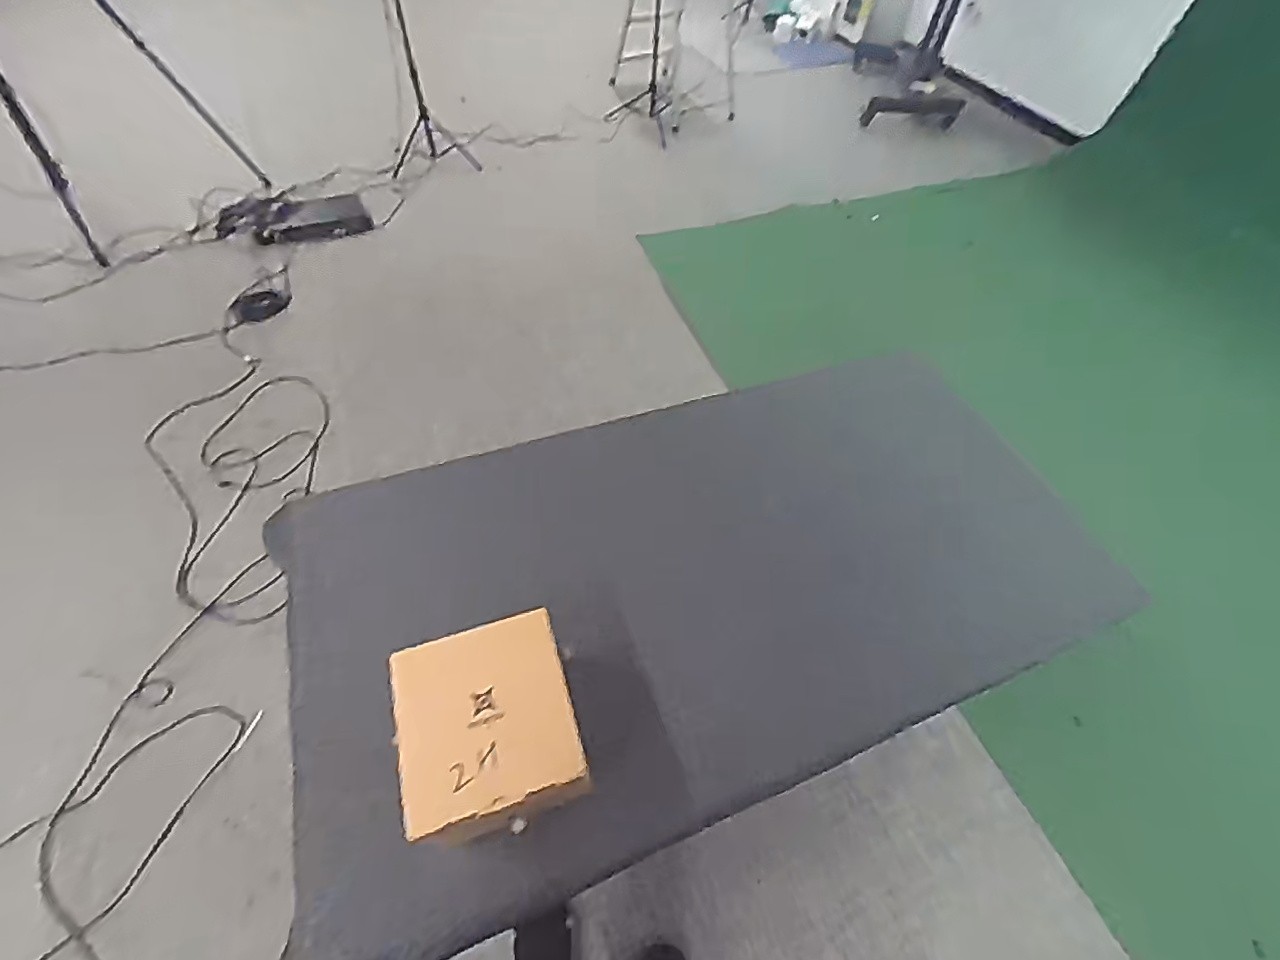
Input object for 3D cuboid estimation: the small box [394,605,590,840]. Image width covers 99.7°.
[{"bbox_3d":[-0.157,0.268,0.594,0.168,0.176,0.179,-14,57,-14],"label":"small box"}]
